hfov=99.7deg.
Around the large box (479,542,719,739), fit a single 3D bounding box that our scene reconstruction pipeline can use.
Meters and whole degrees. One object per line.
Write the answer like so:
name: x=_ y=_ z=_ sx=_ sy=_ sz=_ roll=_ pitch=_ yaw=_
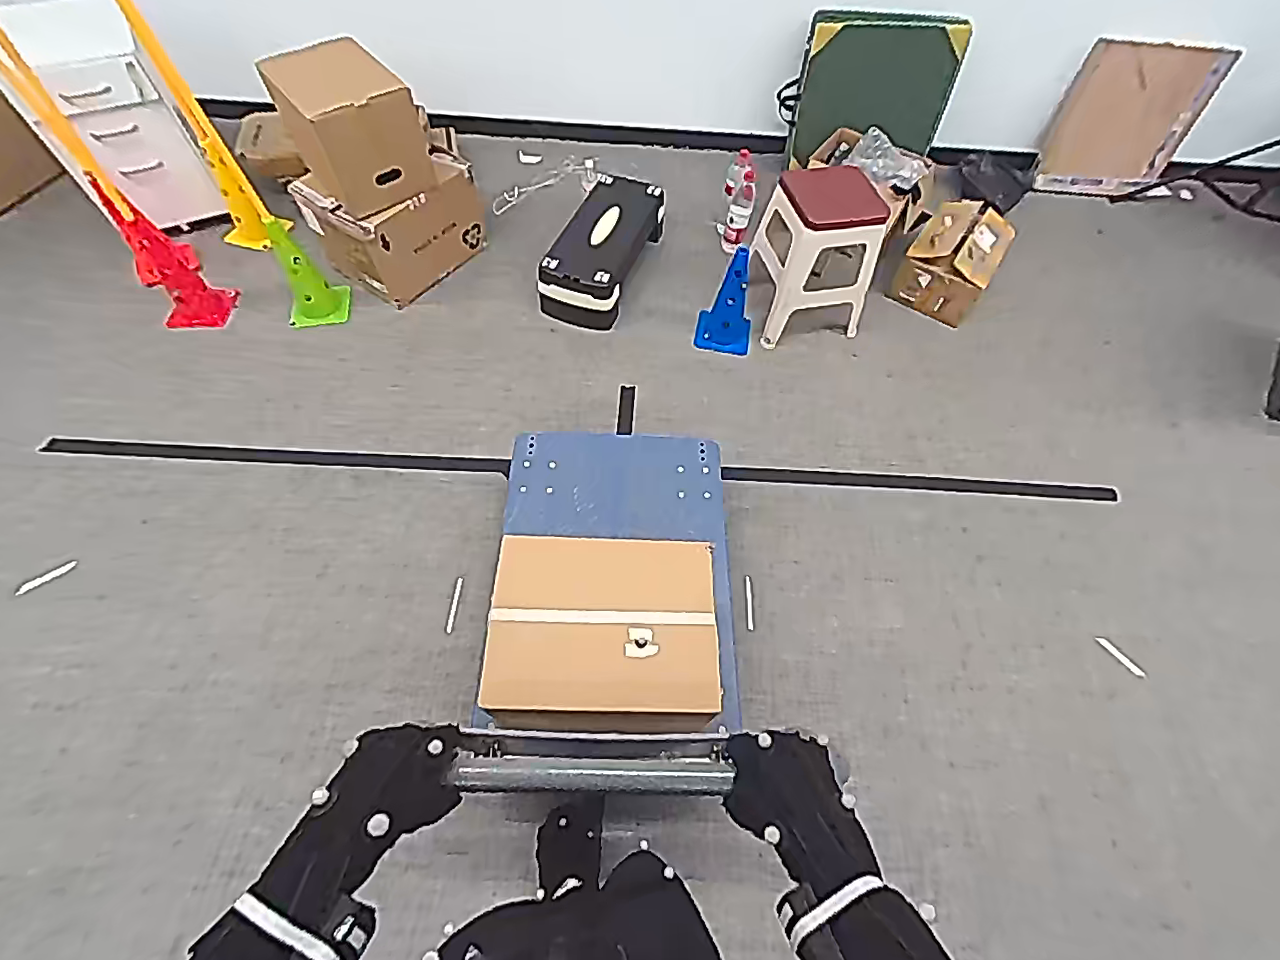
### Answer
large box: x=-0.078 y=0.333 z=1.088 sx=0.408 sy=0.320 sz=0.320 roll=3 pitch=59 yaw=-3
